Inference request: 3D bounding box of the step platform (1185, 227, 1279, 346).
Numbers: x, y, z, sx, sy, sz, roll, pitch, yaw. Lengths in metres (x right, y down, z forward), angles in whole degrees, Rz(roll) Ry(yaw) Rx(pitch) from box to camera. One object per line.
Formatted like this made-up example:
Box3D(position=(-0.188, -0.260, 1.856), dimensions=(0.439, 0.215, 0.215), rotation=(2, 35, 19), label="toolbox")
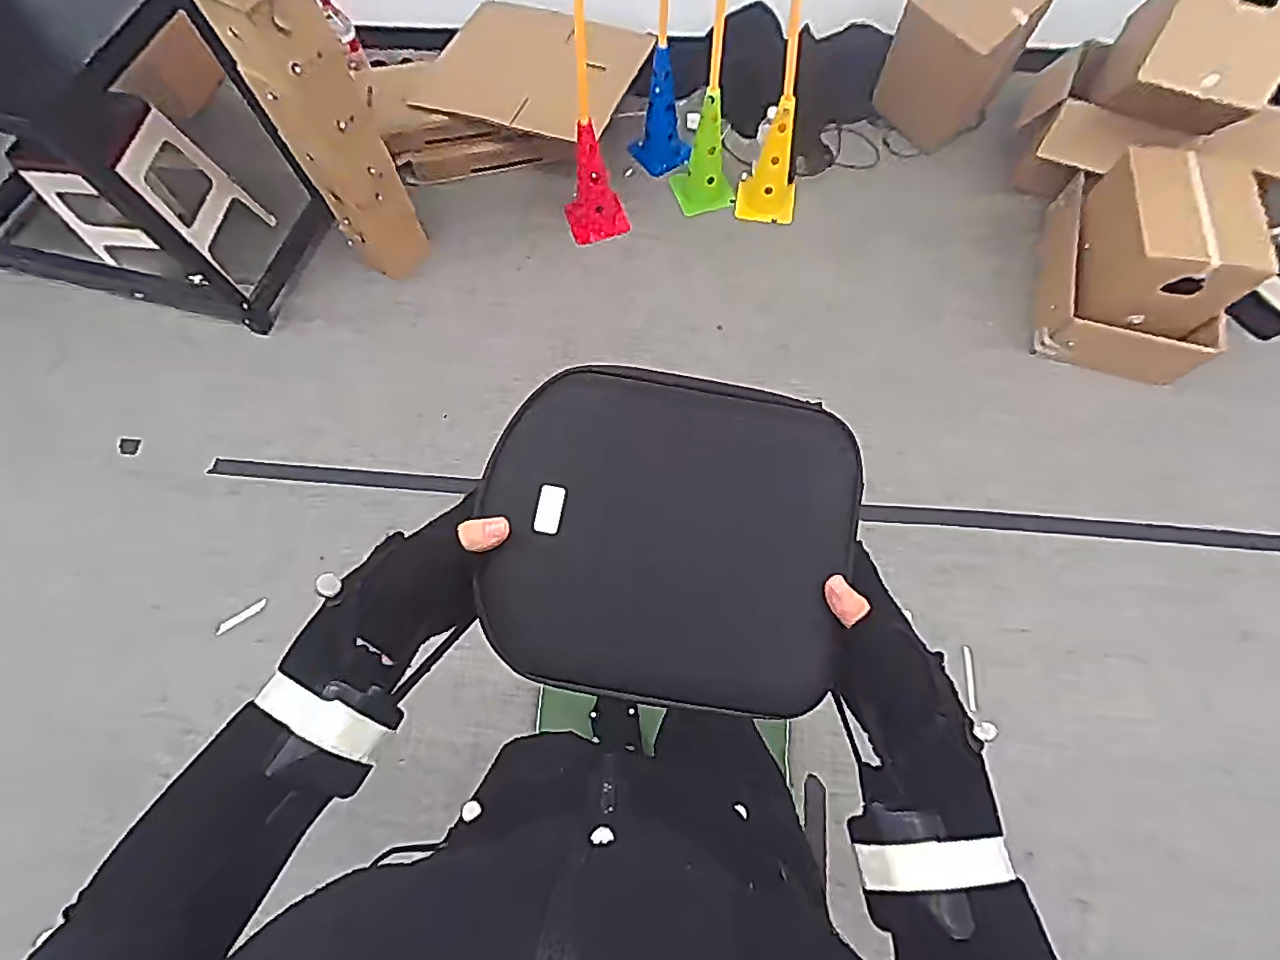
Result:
Box3D(position=(2.136, -0.679, 1.691), dimensions=(0.684, 0.204, 0.286), rotation=(-23, 70, -7), label="step platform")
